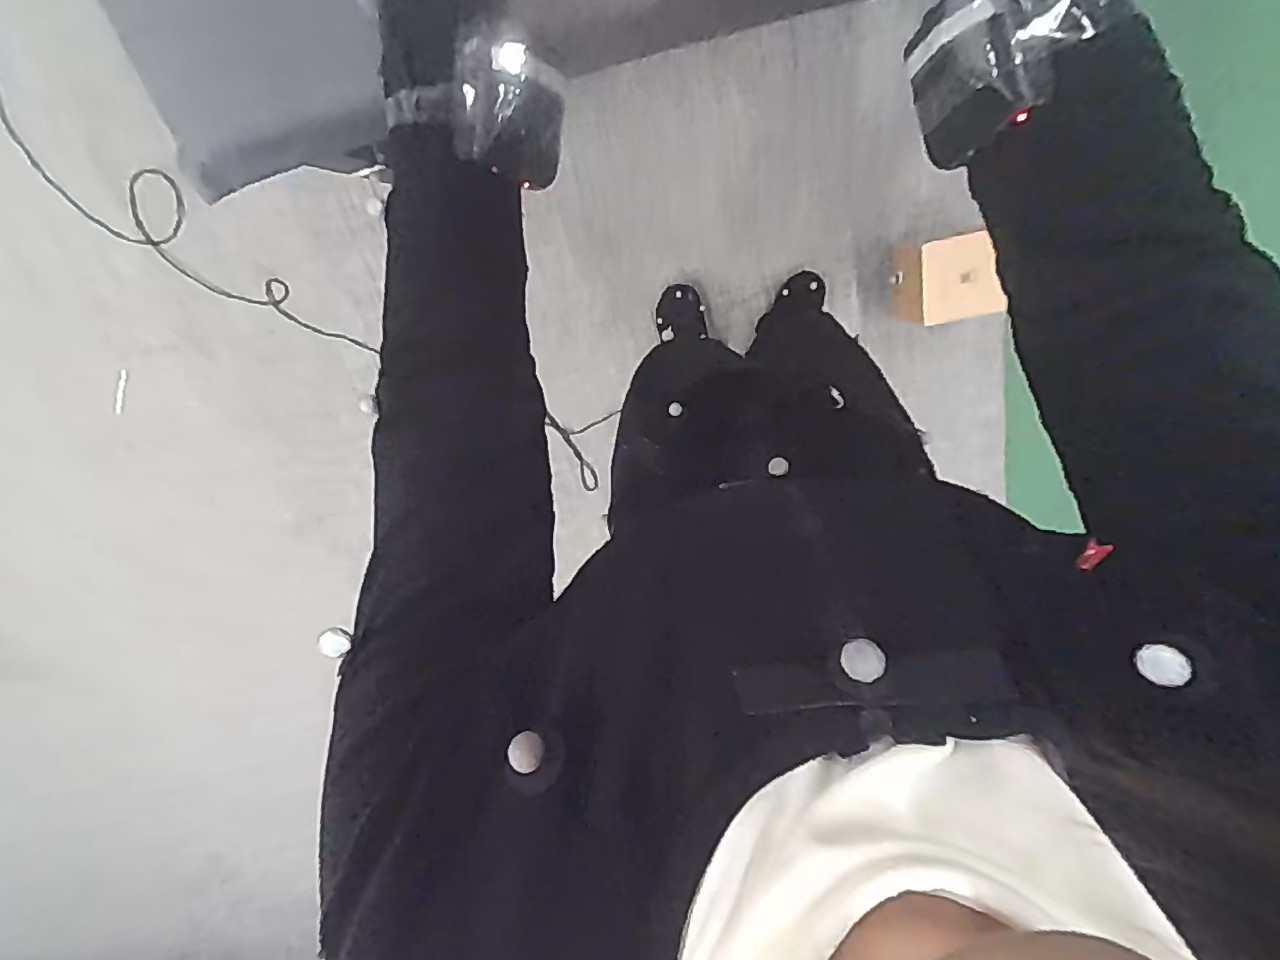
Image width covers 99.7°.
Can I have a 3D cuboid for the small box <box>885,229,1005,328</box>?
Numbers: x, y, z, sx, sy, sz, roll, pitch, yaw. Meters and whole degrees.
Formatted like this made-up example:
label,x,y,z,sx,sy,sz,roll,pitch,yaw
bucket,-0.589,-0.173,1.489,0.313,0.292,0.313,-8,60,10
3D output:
label,x,y,z,sx,sy,sz,roll,pitch,yaw
small box,0.653,-0.440,1.174,0.179,0.176,0.168,-10,112,8
